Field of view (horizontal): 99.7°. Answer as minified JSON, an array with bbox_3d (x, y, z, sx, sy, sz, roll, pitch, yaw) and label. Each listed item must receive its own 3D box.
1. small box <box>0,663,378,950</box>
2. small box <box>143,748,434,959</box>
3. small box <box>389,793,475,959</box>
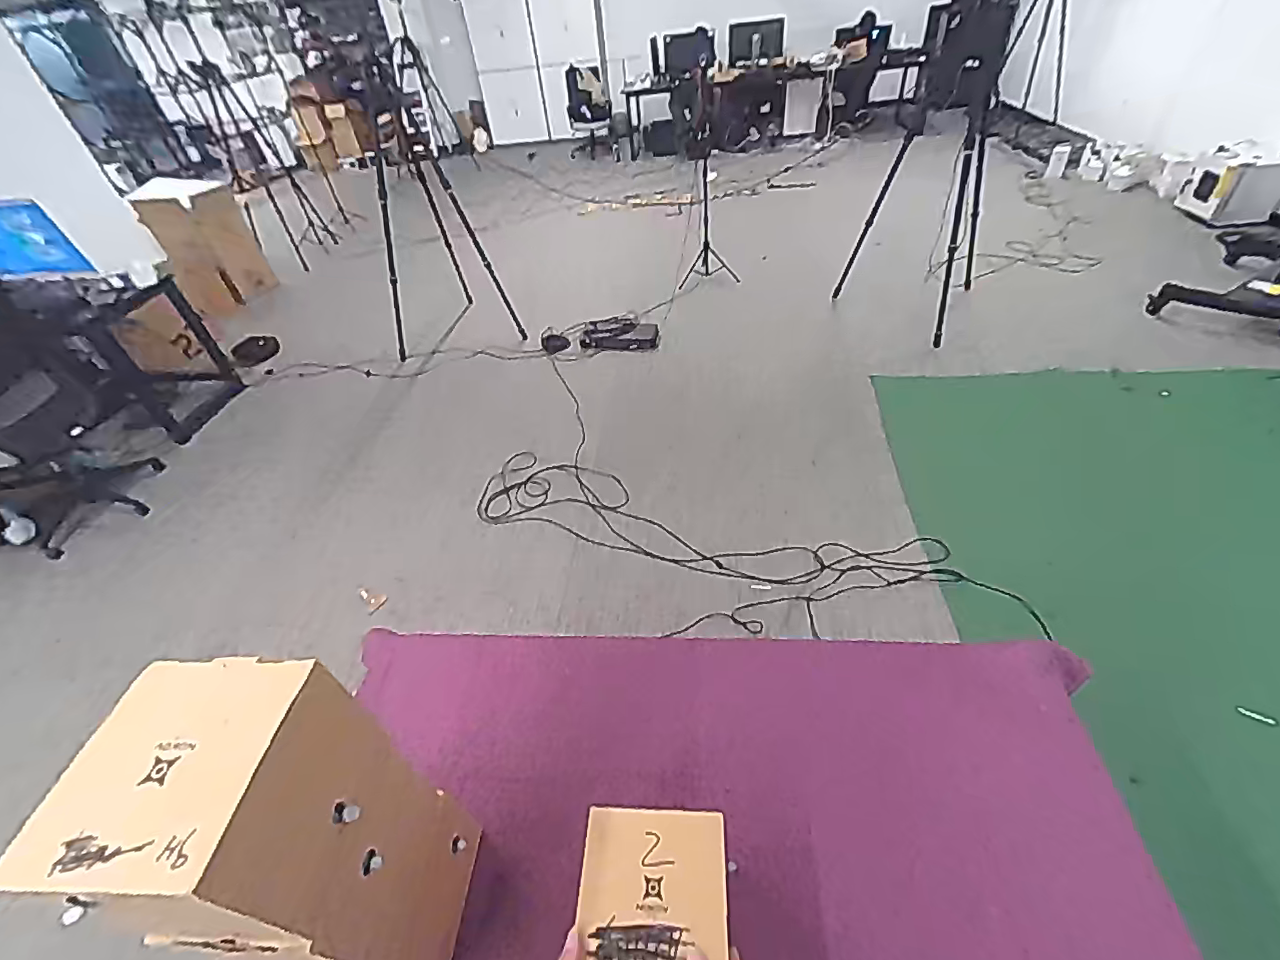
[{"bbox_3d":[-0.366,0.286,0.483,0.168,0.176,0.179,-3,41,6],"label":"small box"},{"bbox_3d":[-0.349,0.412,0.585,0.168,0.176,0.179,-3,41,7],"label":"small box"},{"bbox_3d":[-0.331,0.527,0.700,0.168,0.176,0.179,-3,42,7],"label":"small box"}]
